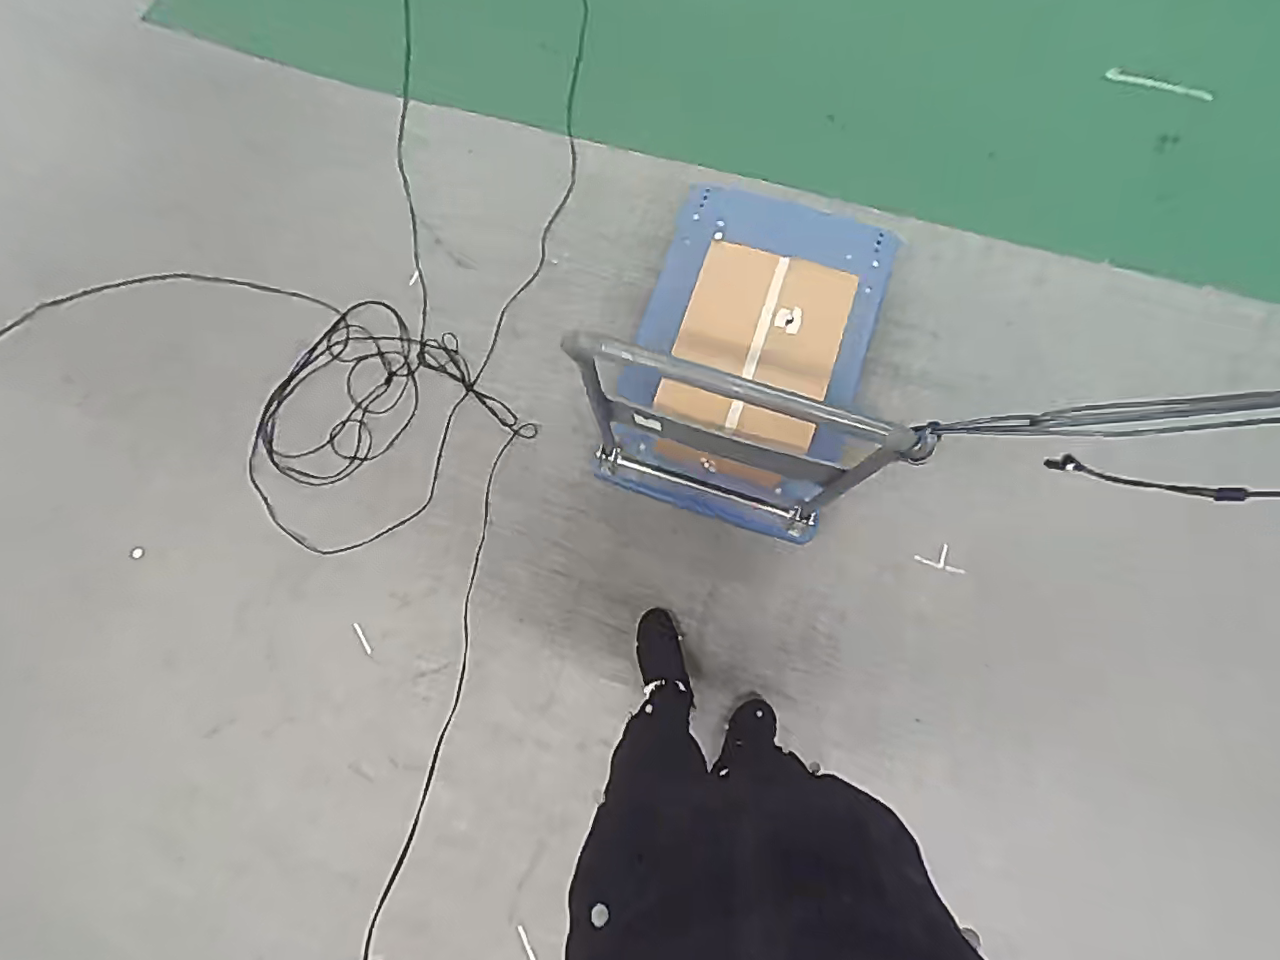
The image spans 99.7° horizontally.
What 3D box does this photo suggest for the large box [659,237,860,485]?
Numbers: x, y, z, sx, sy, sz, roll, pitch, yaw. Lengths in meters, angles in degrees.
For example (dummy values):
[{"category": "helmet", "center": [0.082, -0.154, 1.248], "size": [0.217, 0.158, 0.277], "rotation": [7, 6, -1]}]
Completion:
[{"category": "large box", "center": [0.246, -0.241, 1.200], "size": [0.320, 0.320, 0.408], "rotation": [17, 80, 6]}]
